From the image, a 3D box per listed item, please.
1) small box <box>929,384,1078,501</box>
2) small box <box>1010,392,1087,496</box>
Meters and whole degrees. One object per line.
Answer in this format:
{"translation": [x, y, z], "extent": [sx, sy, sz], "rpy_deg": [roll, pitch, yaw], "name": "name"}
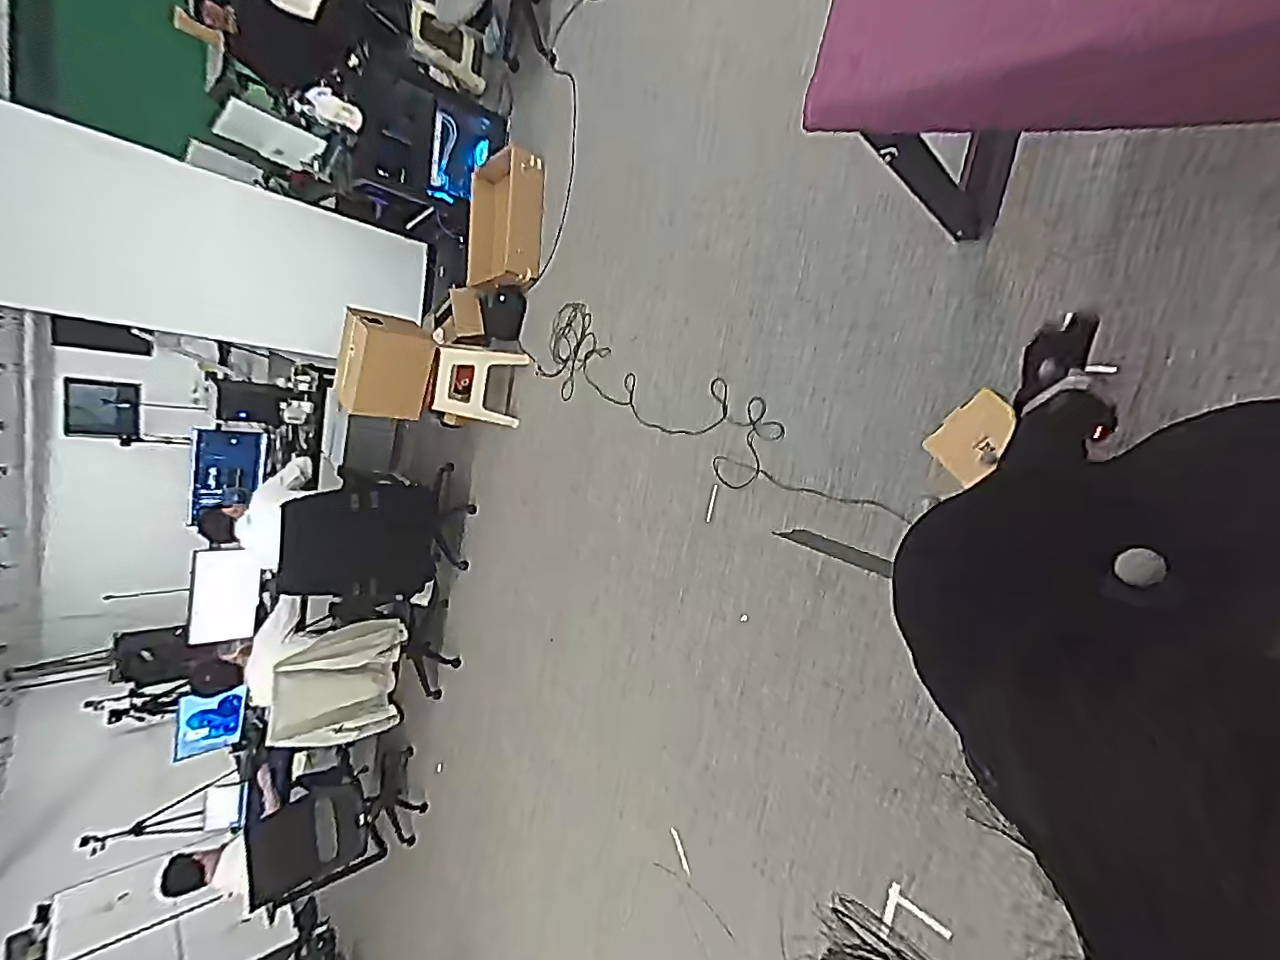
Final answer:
{"translation": [0.744, -0.070, 1.109], "extent": [0.168, 0.176, 0.179], "rpy_deg": [-53, 55, 31], "name": "small box"}
{"translation": [0.859, -0.074, 1.225], "extent": [0.179, 0.176, 0.168], "rpy_deg": [55, 126, 30], "name": "small box"}
